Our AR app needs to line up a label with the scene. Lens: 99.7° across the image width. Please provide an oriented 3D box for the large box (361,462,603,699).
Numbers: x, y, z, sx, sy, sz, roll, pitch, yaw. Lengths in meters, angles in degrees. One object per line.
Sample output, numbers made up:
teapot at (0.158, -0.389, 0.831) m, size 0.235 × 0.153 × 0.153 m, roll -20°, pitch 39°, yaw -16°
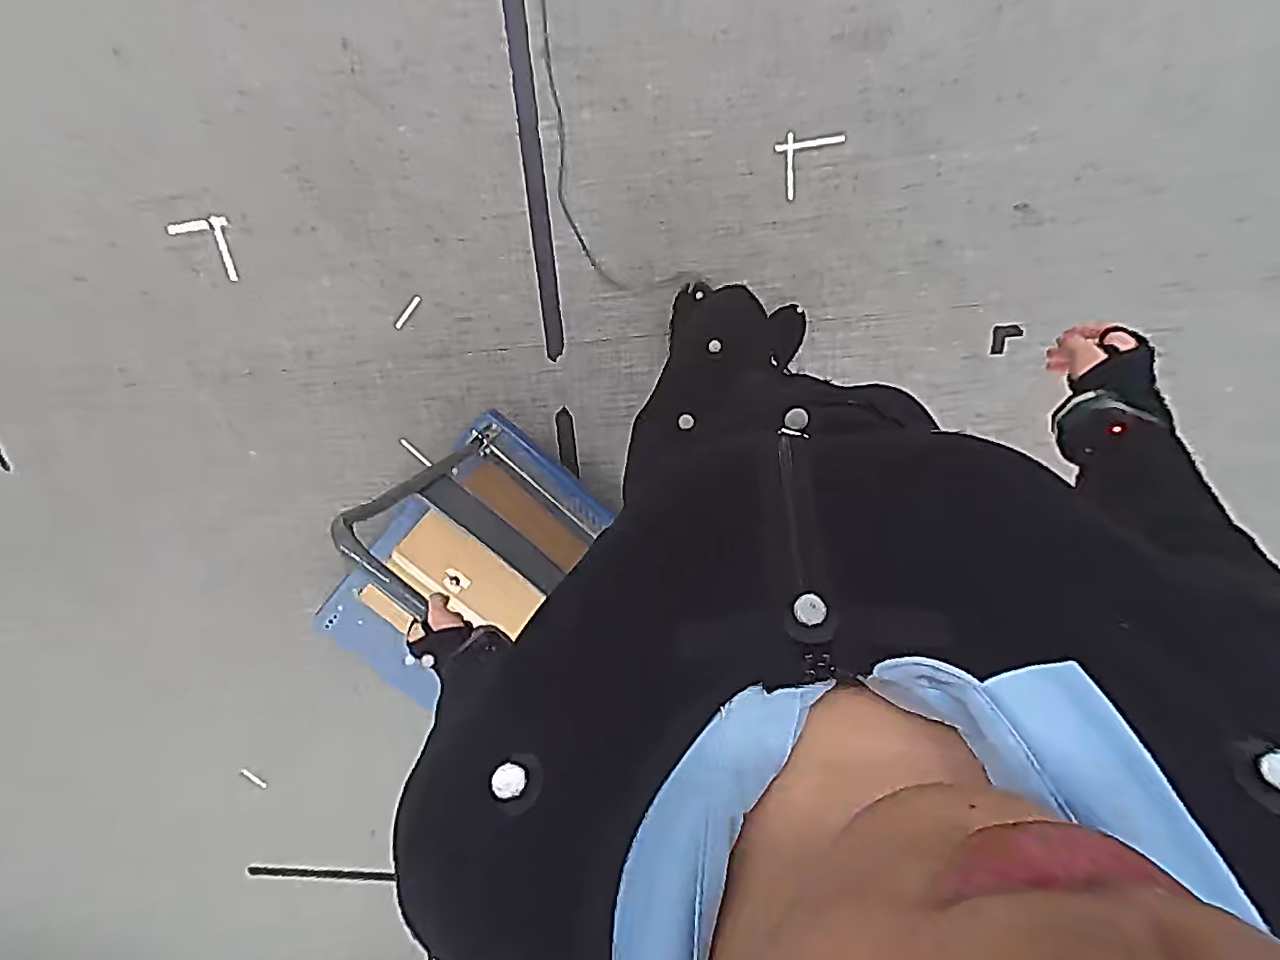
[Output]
large box at (-0.353, 0.229, 1.308) m, size 0.408 × 0.320 × 0.320 m, roll 42°, pitch 107°, yaw -8°
